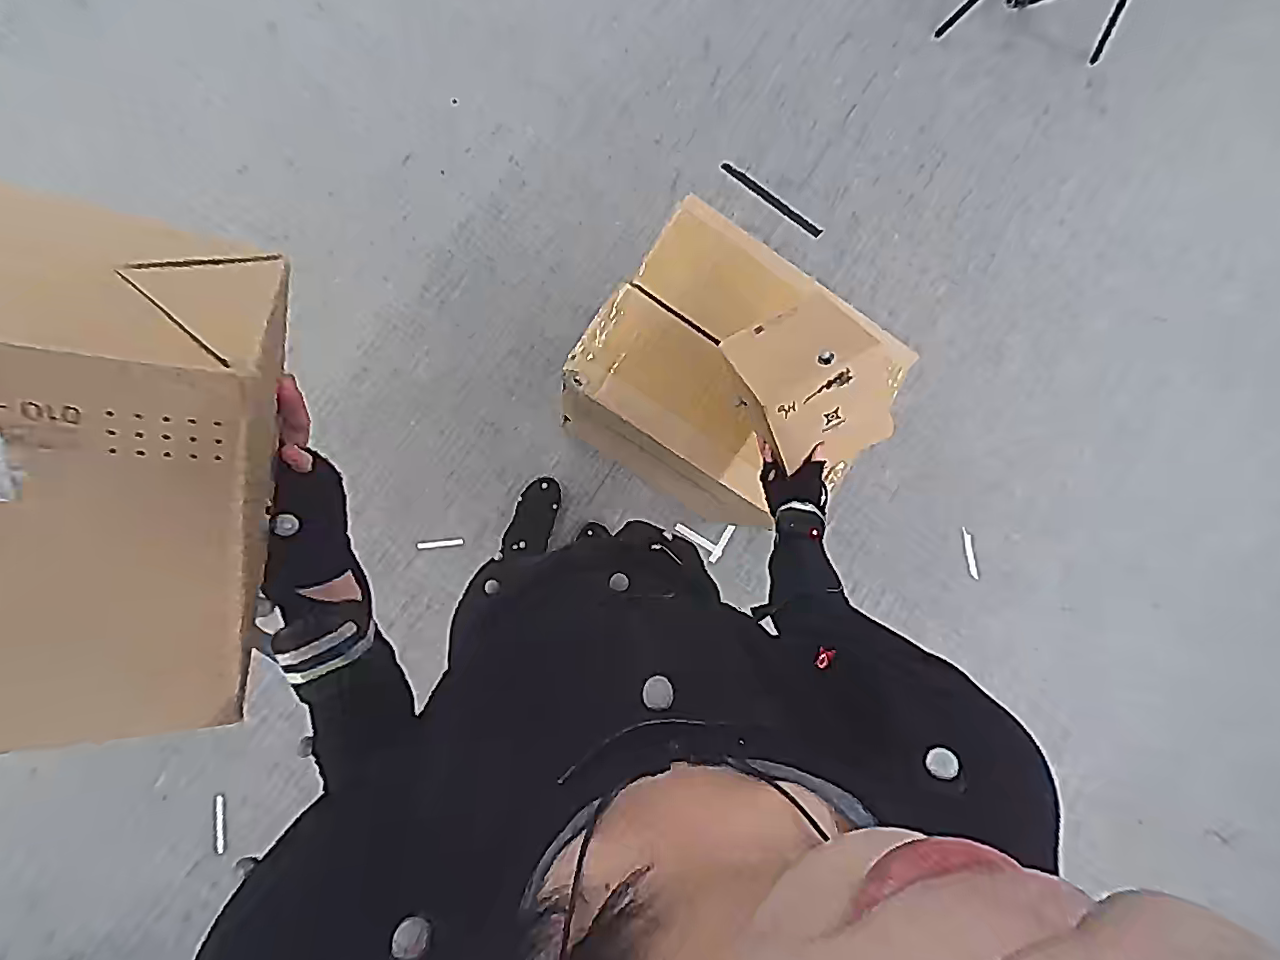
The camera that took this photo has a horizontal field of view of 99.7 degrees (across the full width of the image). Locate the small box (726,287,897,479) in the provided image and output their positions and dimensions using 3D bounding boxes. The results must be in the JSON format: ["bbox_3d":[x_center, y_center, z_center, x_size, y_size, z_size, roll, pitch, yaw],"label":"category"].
[{"bbox_3d":[0.244,-0.139,0.778,0.168,0.179,0.176,-27,47,7],"label":"small box"}]

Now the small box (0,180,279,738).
[{"bbox_3d":[-0.253,-0.021,0.220,0.168,0.179,0.176,4,120,-30],"label":"small box"}]
